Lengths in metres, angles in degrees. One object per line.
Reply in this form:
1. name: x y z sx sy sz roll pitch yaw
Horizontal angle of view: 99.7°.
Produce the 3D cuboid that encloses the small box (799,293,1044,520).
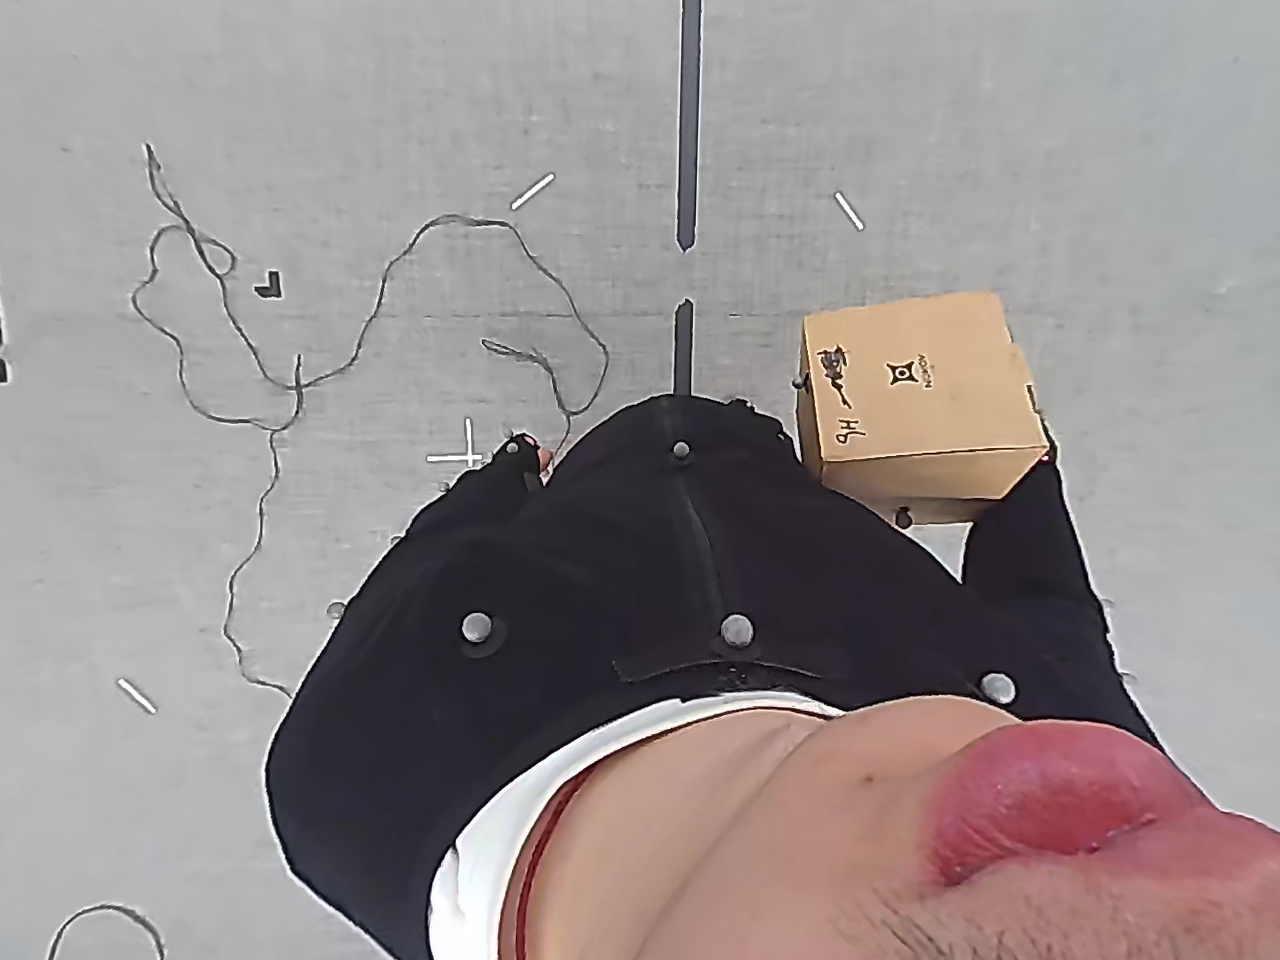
1. small box: 0.267 -0.065 0.564 0.179 0.176 0.168 -4 63 12
